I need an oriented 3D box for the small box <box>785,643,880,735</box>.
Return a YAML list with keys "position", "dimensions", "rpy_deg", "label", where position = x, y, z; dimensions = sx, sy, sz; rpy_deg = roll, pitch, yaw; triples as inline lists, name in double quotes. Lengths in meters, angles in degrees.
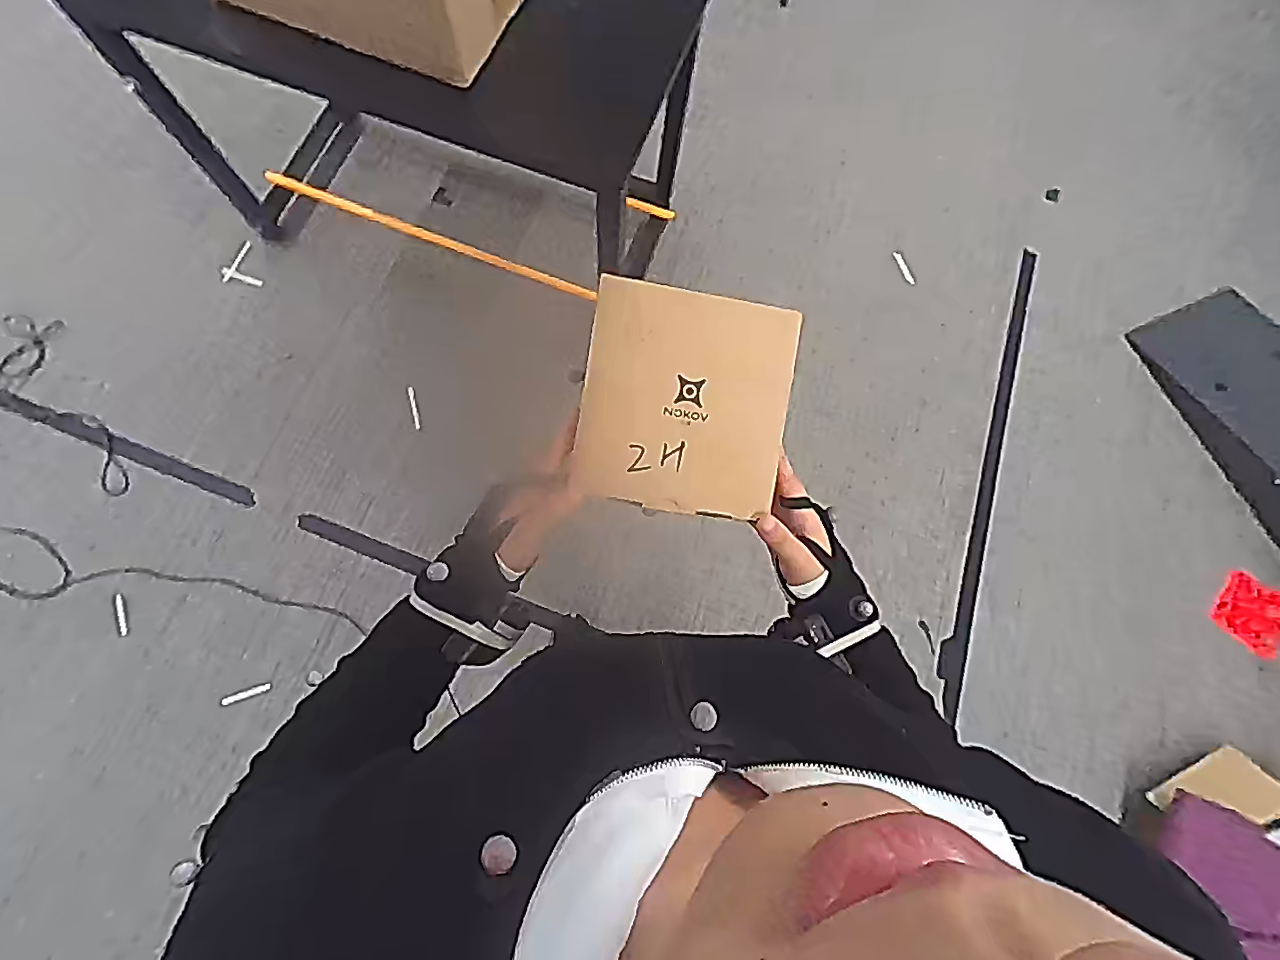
- position: [0.488, 0.528, 1.392]
  dimensions: [0.168, 0.176, 0.179]
  rpy_deg: [17, 75, 1]
  label: "small box"
